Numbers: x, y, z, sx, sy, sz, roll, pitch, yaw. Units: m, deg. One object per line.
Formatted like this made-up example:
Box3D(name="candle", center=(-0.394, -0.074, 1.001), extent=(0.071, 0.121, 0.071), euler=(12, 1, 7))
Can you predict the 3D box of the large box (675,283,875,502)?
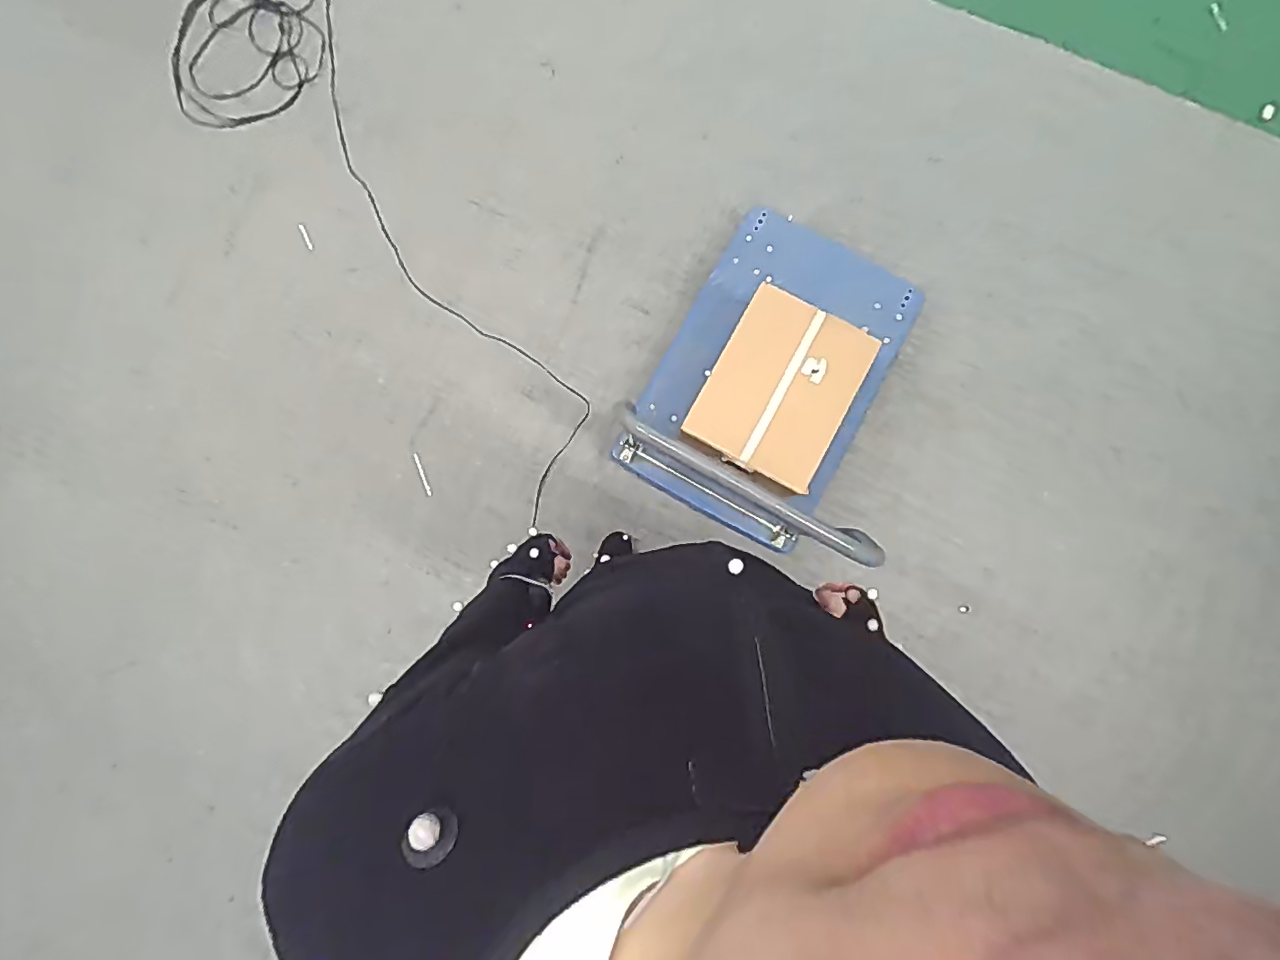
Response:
Box3D(name="large box", center=(0.316, -0.197, 1.373), extent=(0.320, 0.320, 0.408), euler=(29, 83, 2))
